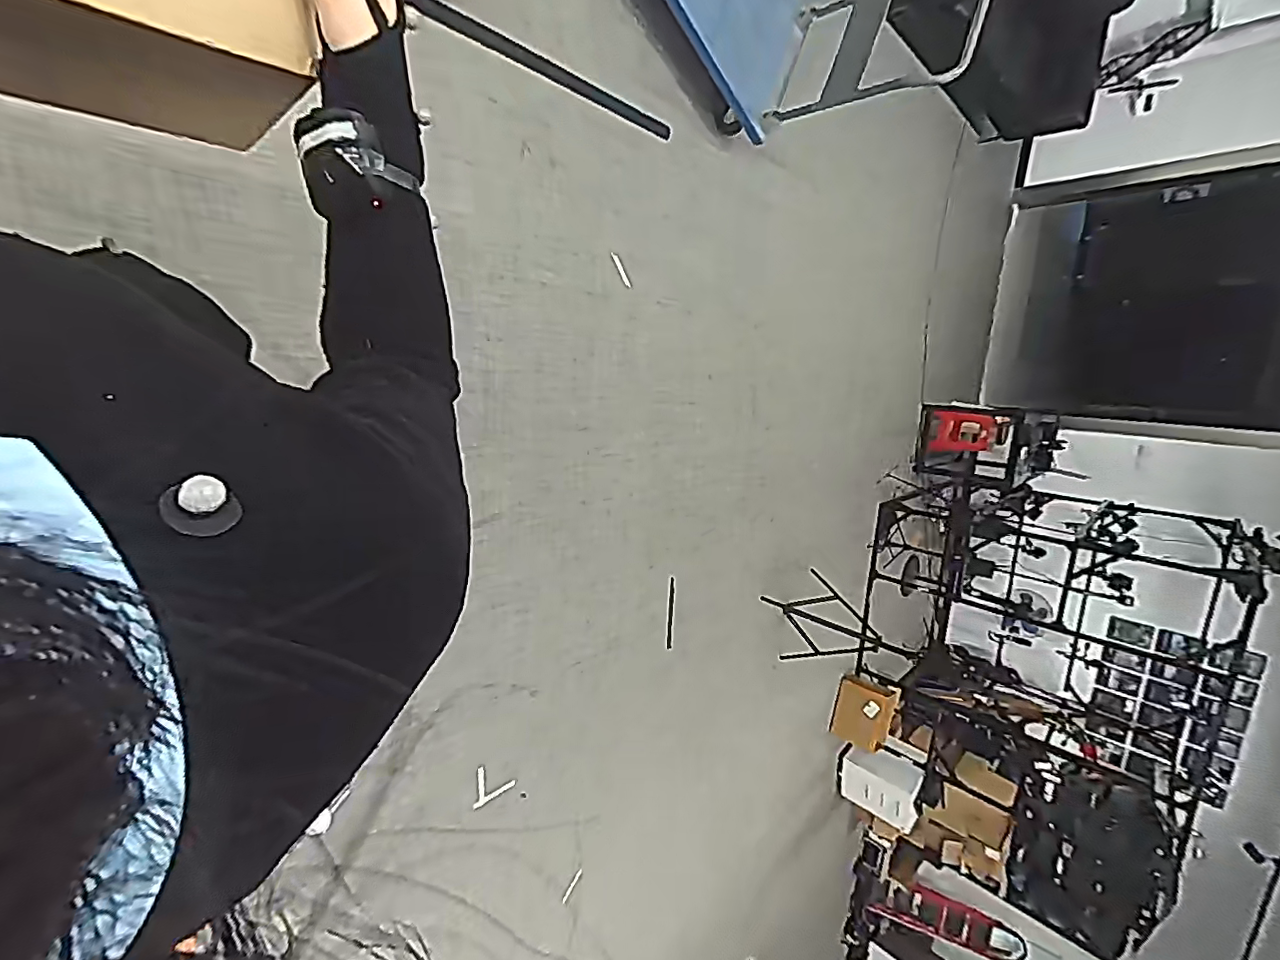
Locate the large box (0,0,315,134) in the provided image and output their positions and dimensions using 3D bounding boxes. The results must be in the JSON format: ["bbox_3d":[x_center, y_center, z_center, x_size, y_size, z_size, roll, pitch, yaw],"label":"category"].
[{"bbox_3d":[-0.483,-0.470,0.346,0.408,0.320,0.320,-10,110,-41],"label":"large box"}]
